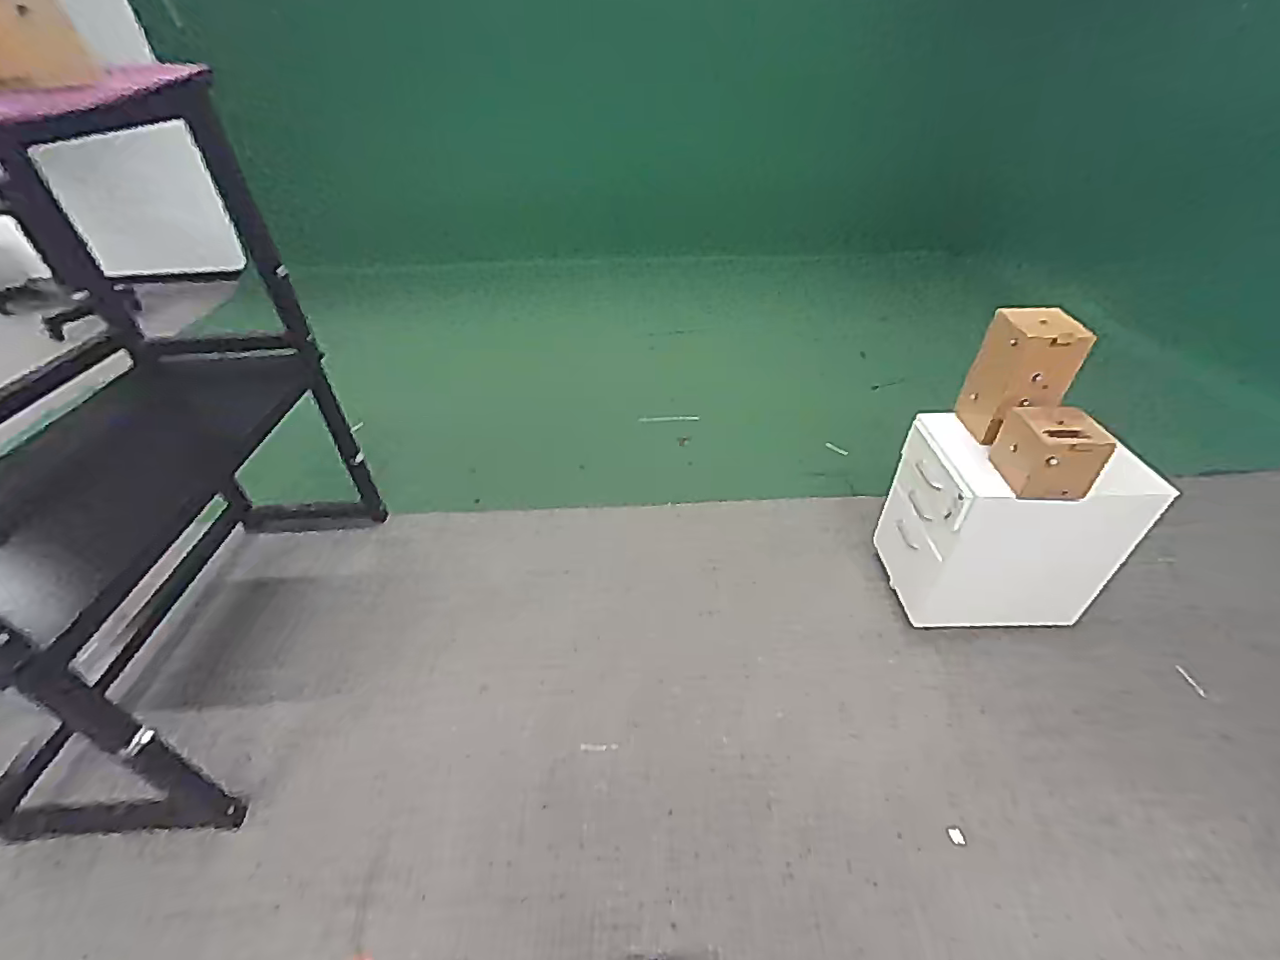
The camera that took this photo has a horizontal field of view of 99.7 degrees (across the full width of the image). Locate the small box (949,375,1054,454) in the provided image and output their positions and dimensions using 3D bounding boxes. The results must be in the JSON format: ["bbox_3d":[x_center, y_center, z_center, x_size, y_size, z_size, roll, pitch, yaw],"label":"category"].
[{"bbox_3d":[1.040,-0.193,1.575,0.168,0.176,0.179,-1,39,0],"label":"small box"}]

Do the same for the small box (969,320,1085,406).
[{"bbox_3d":[1.040,-0.320,1.473,0.168,0.176,0.179,0,41,1],"label":"small box"}]

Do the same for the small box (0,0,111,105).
[{"bbox_3d":[-1.218,-0.843,1.059,0.168,0.176,0.179,-3,38,1],"label":"small box"}]
